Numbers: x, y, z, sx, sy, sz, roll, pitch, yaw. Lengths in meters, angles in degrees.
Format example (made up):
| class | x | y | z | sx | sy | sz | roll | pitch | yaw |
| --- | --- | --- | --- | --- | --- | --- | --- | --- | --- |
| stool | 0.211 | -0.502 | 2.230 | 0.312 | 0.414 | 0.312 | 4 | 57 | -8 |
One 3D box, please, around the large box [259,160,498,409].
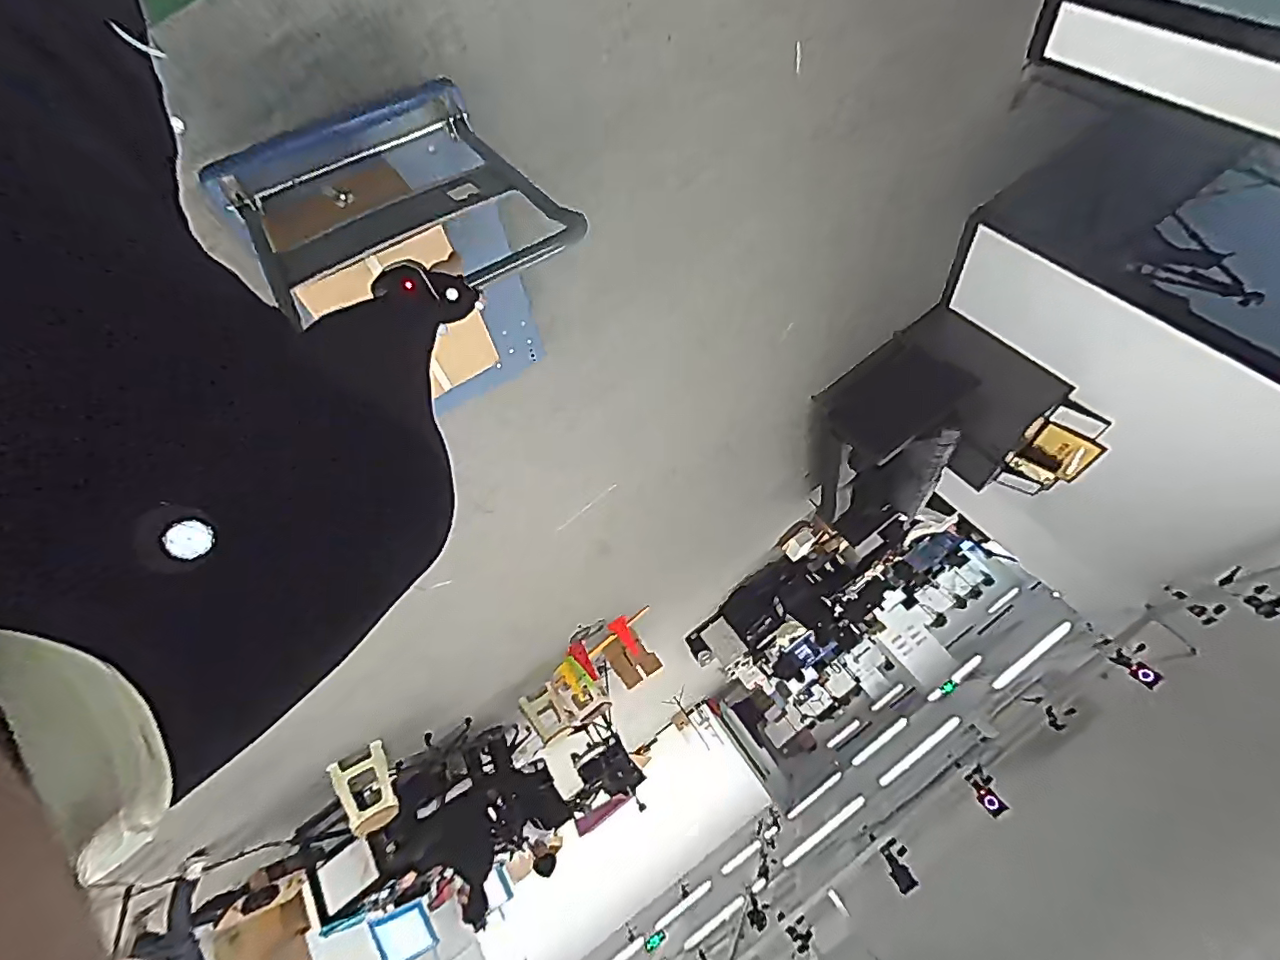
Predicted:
| class | x | y | z | sx | sy | sz | roll | pitch | yaw |
| --- | --- | --- | --- | --- | --- | --- | --- | --- | --- |
| large box | -0.605 | -0.458 | 1.303 | 0.320 | 0.320 | 0.408 | -32 | 152 | -13 |
